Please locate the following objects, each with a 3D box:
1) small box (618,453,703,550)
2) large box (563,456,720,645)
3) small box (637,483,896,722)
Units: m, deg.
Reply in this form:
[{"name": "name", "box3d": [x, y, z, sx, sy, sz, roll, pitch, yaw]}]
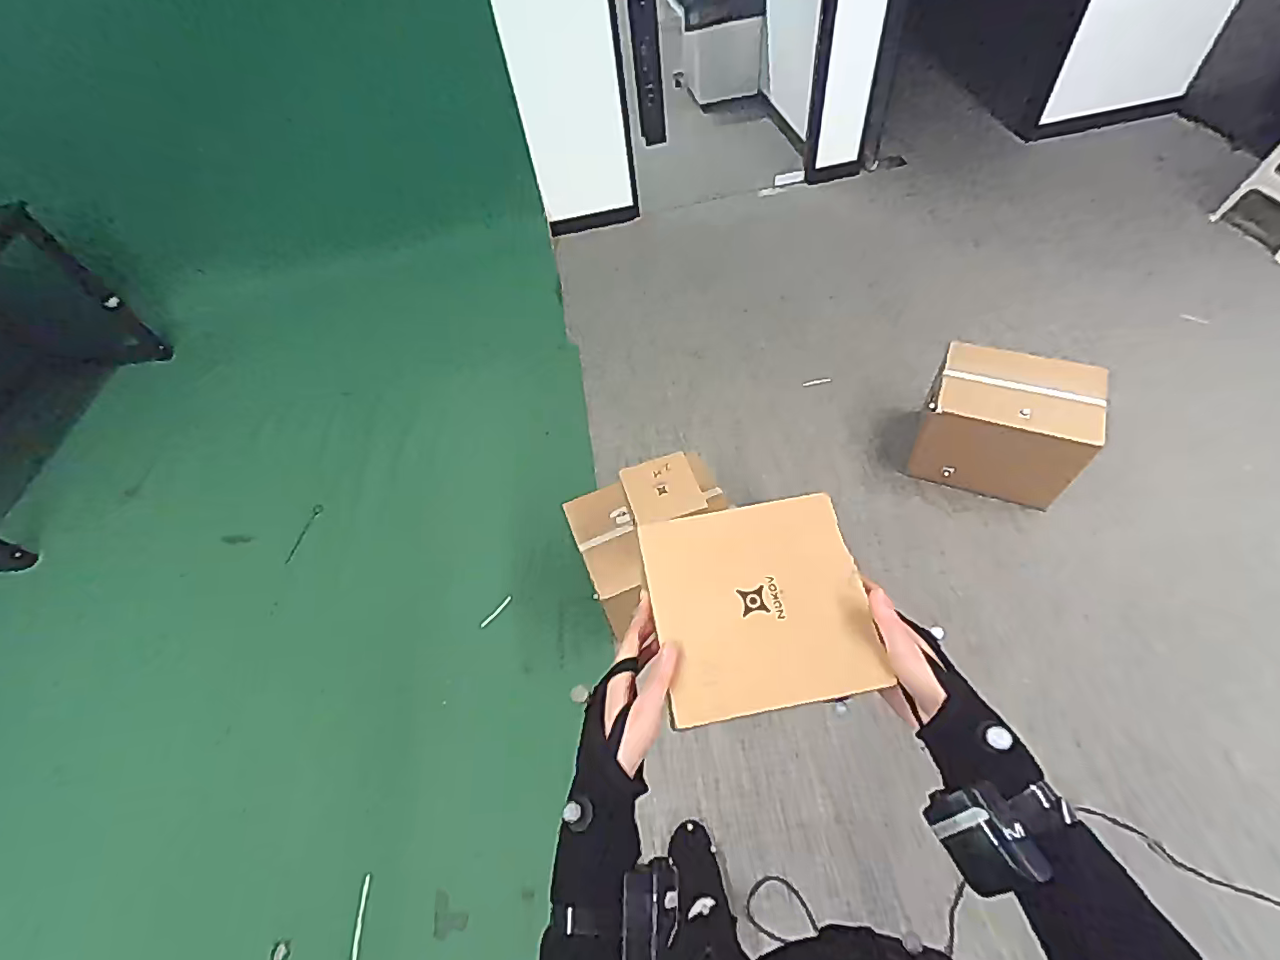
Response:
[{"name": "small box", "box3d": [0.056, 0.069, 1.307, 0.168, 0.176, 0.179, -17, 54, -6]}, {"name": "large box", "box3d": [0.047, 0.203, 1.519, 0.408, 0.320, 0.320, -22, 53, -8]}, {"name": "small box", "box3d": [0.096, 0.123, 0.508, 0.179, 0.176, 0.168, -9, 64, -5]}]
